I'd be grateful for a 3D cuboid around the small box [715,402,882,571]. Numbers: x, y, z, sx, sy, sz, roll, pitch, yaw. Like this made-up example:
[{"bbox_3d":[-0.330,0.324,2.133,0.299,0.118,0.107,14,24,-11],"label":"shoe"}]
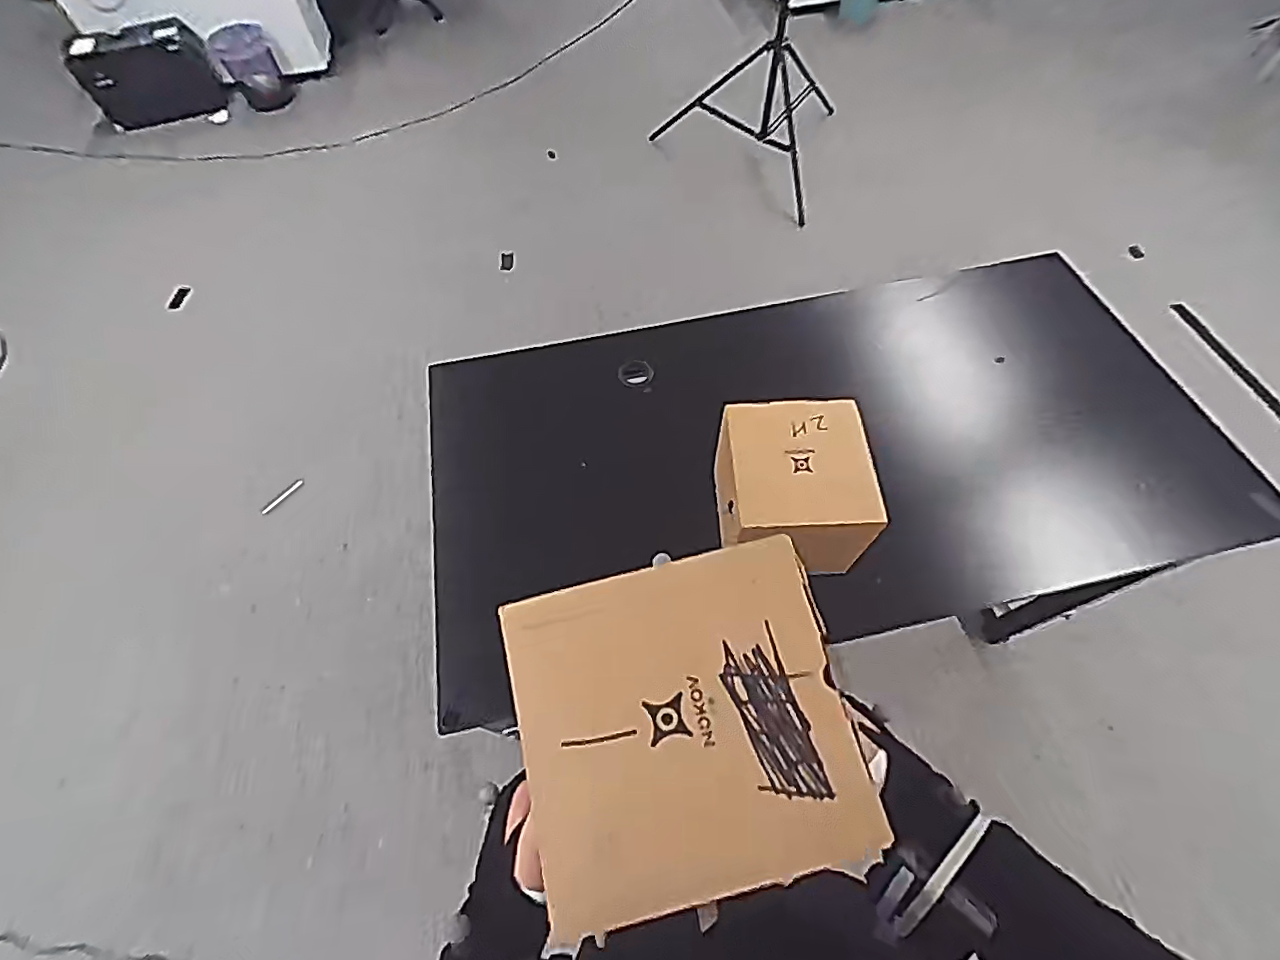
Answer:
[{"bbox_3d":[0.194,0.017,0.720,0.168,0.176,0.179,-2,60,1],"label":"small box"}]
